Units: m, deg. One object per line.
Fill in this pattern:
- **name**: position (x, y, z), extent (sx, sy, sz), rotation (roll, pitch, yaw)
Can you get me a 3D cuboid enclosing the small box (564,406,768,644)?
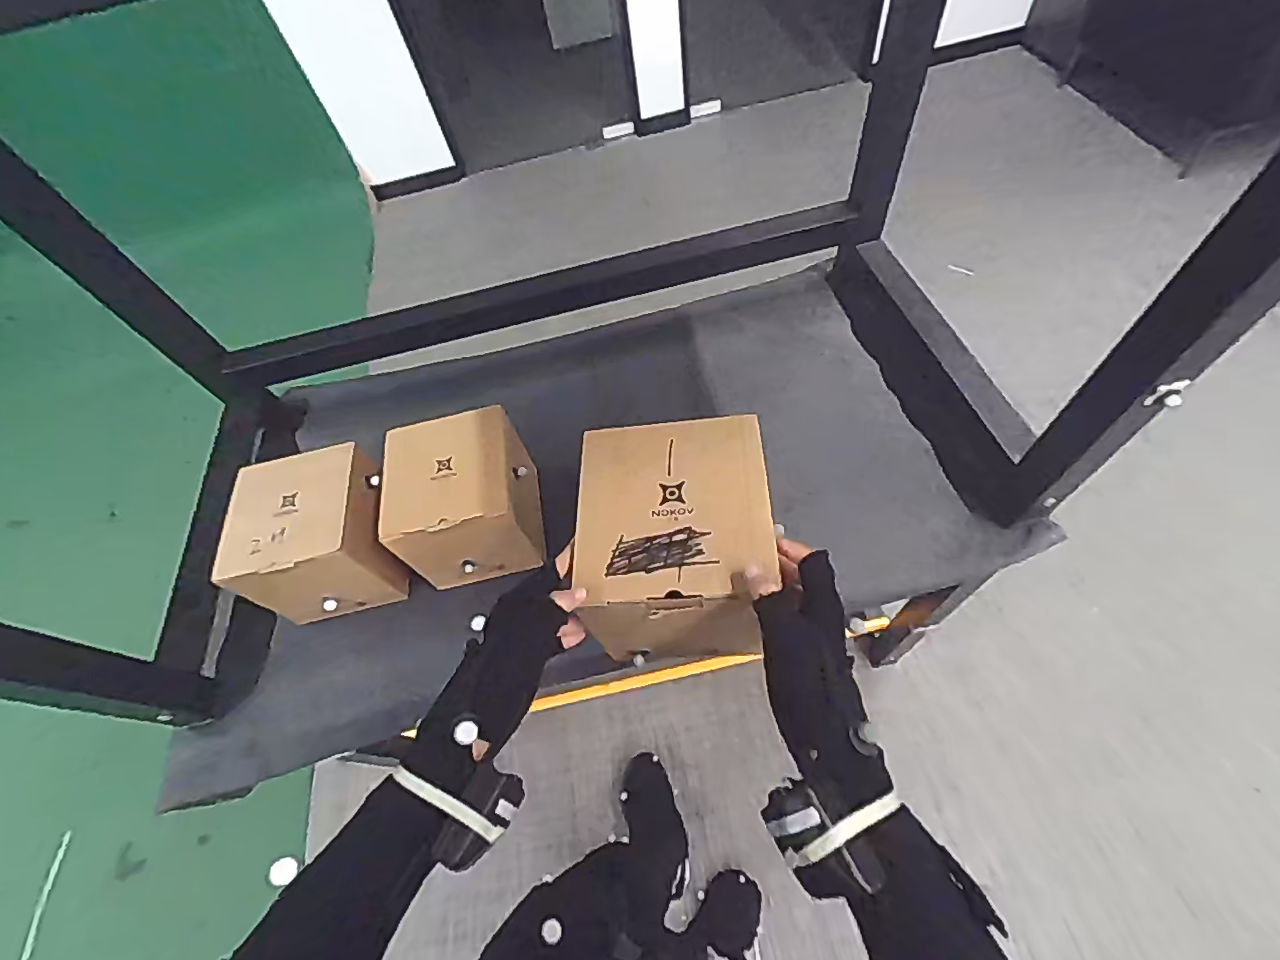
- **small box**: position (0.034, 0.055, 0.530), extent (0.168, 0.176, 0.179), rotation (-5, 56, 8)
